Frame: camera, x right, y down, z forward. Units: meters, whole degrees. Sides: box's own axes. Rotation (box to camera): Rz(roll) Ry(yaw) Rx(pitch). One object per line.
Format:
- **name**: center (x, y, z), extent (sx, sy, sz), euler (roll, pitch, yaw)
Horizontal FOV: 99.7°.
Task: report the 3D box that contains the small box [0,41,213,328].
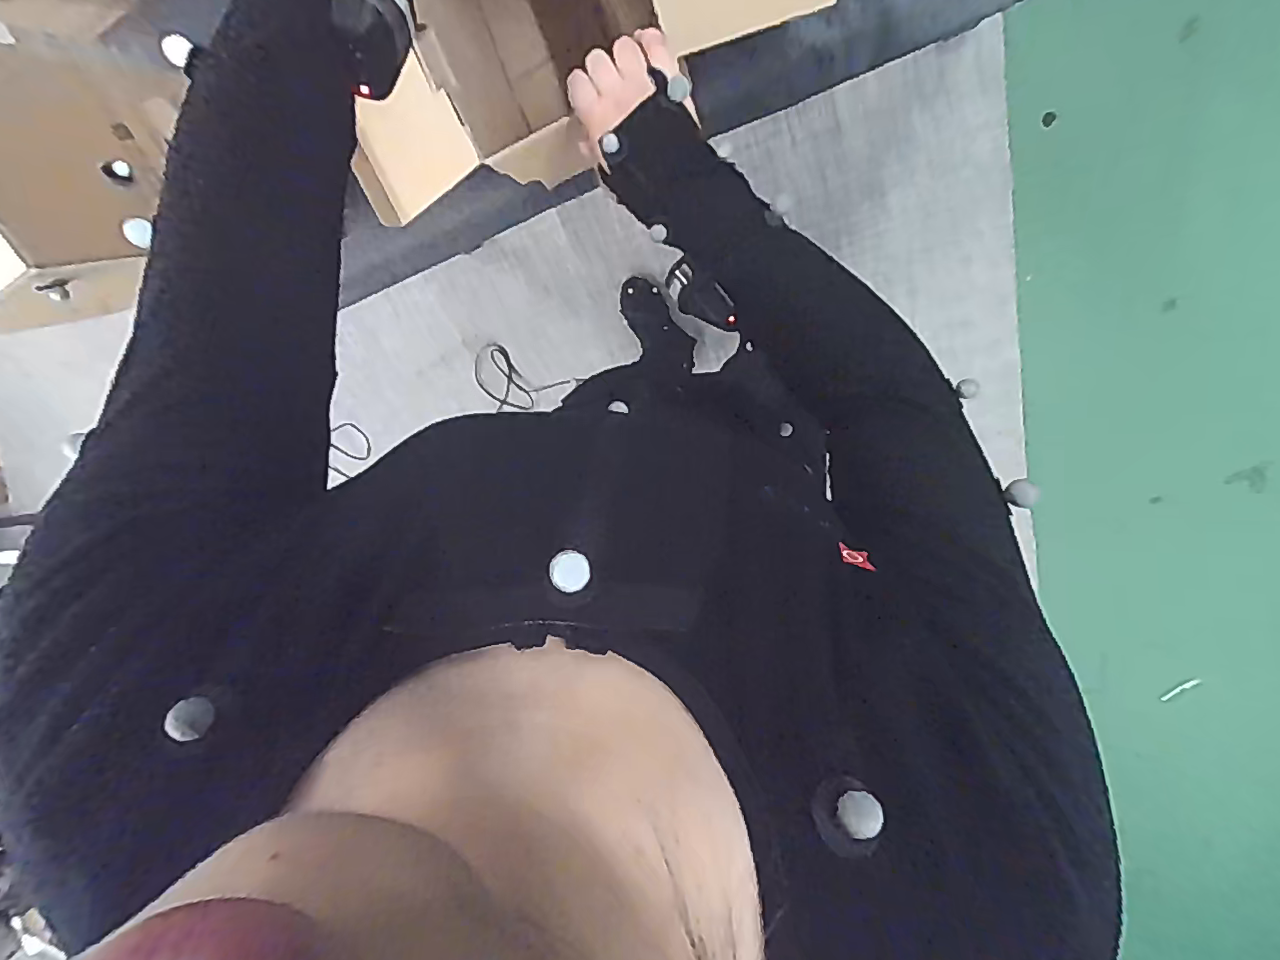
- **small box**: center (-0.531, -0.240, 0.462), extent (0.179, 0.176, 0.168), euler (-17, 114, 20)
